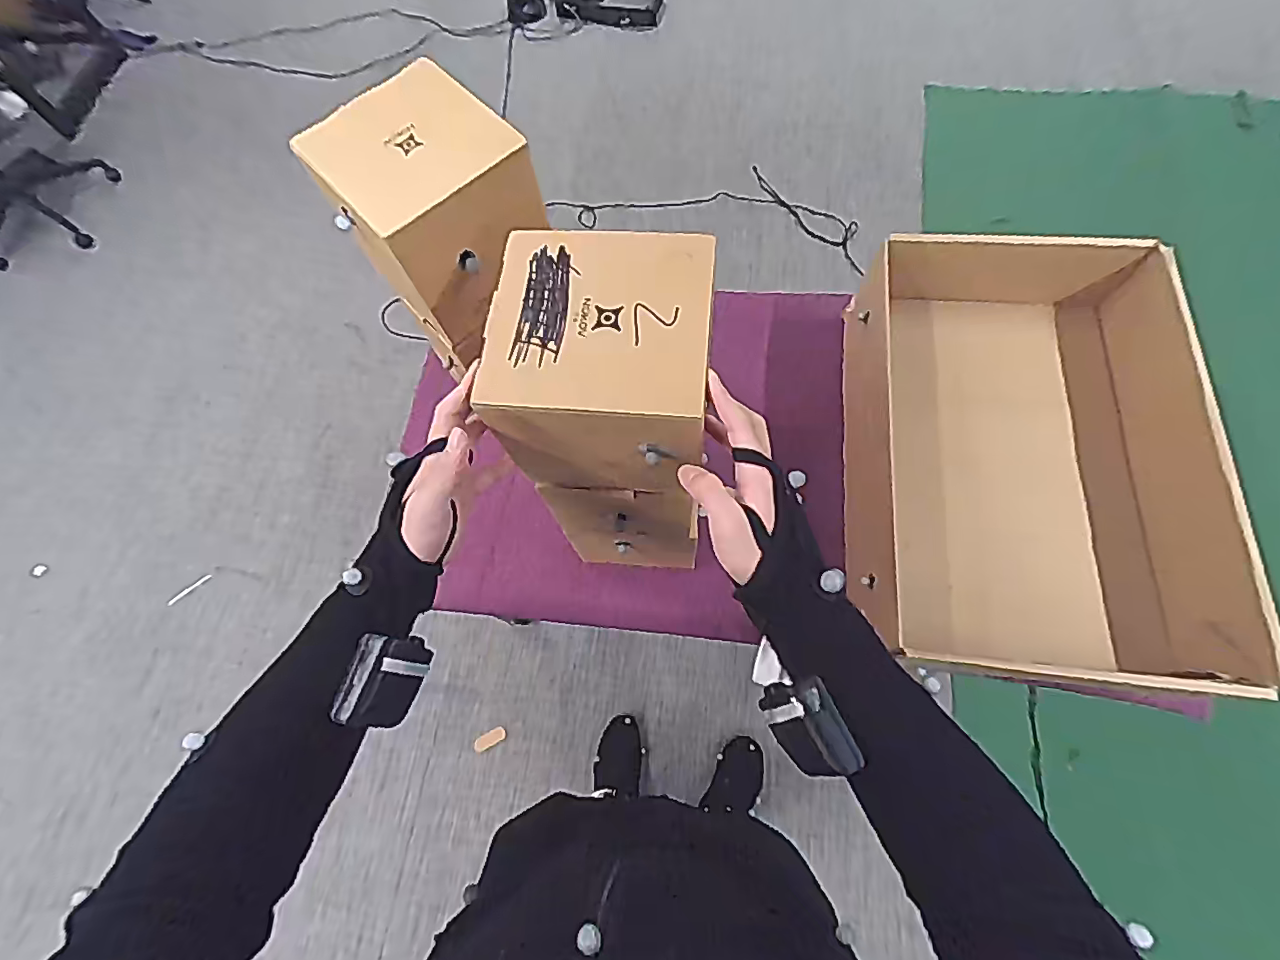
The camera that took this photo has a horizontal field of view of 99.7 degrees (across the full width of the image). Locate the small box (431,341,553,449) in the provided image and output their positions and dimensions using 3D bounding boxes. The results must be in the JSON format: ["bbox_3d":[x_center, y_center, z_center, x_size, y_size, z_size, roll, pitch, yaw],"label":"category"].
[{"bbox_3d":[-0.200,-0.171,0.888,0.168,0.176,0.179,-40,72,-12],"label":"small box"}]

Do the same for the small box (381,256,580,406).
[{"bbox_3d":[-0.203,-0.233,0.737,0.179,0.176,0.168,-40,73,-11],"label":"small box"}]

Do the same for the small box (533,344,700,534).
[{"bbox_3d":[-0.016,-0.040,0.649,0.168,0.176,0.179,4,69,5],"label":"small box"}]

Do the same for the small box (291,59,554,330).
[{"bbox_3d":[-0.216,-0.292,0.587,0.168,0.176,0.179,-42,73,-11],"label":"small box"}]

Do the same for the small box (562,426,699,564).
[{"bbox_3d":[-0.005,0.024,0.800,0.179,0.176,0.168,2,69,5],"label":"small box"}]
